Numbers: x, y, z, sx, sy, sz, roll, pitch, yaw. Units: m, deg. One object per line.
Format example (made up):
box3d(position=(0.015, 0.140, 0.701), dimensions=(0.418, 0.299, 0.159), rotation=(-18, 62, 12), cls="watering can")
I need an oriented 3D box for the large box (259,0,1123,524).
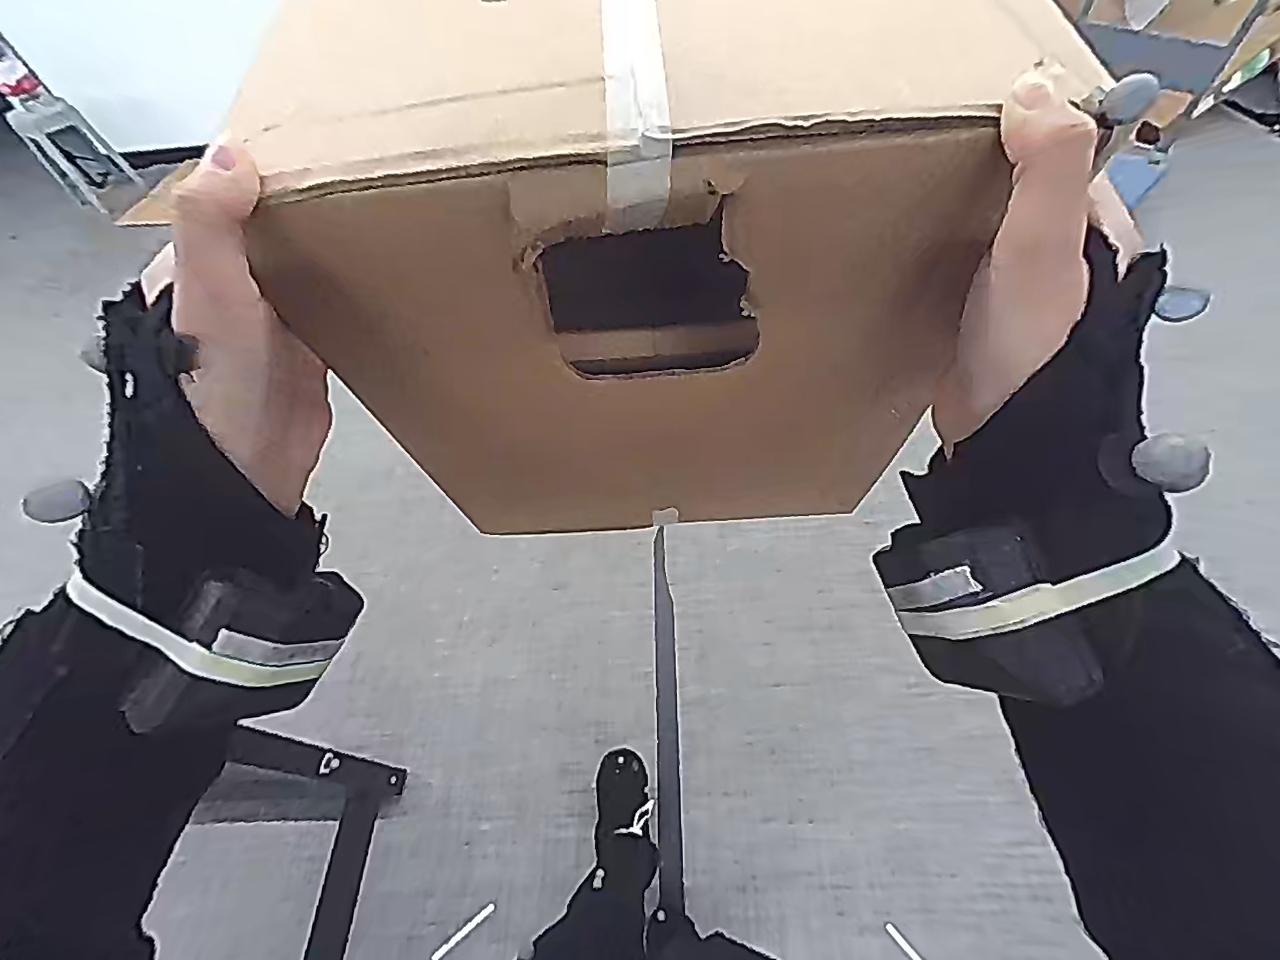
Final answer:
box3d(position=(0.010, -0.215, 0.409), dimensions=(0.320, 0.320, 0.408), rotation=(-5, 63, 3), cls="large box")
